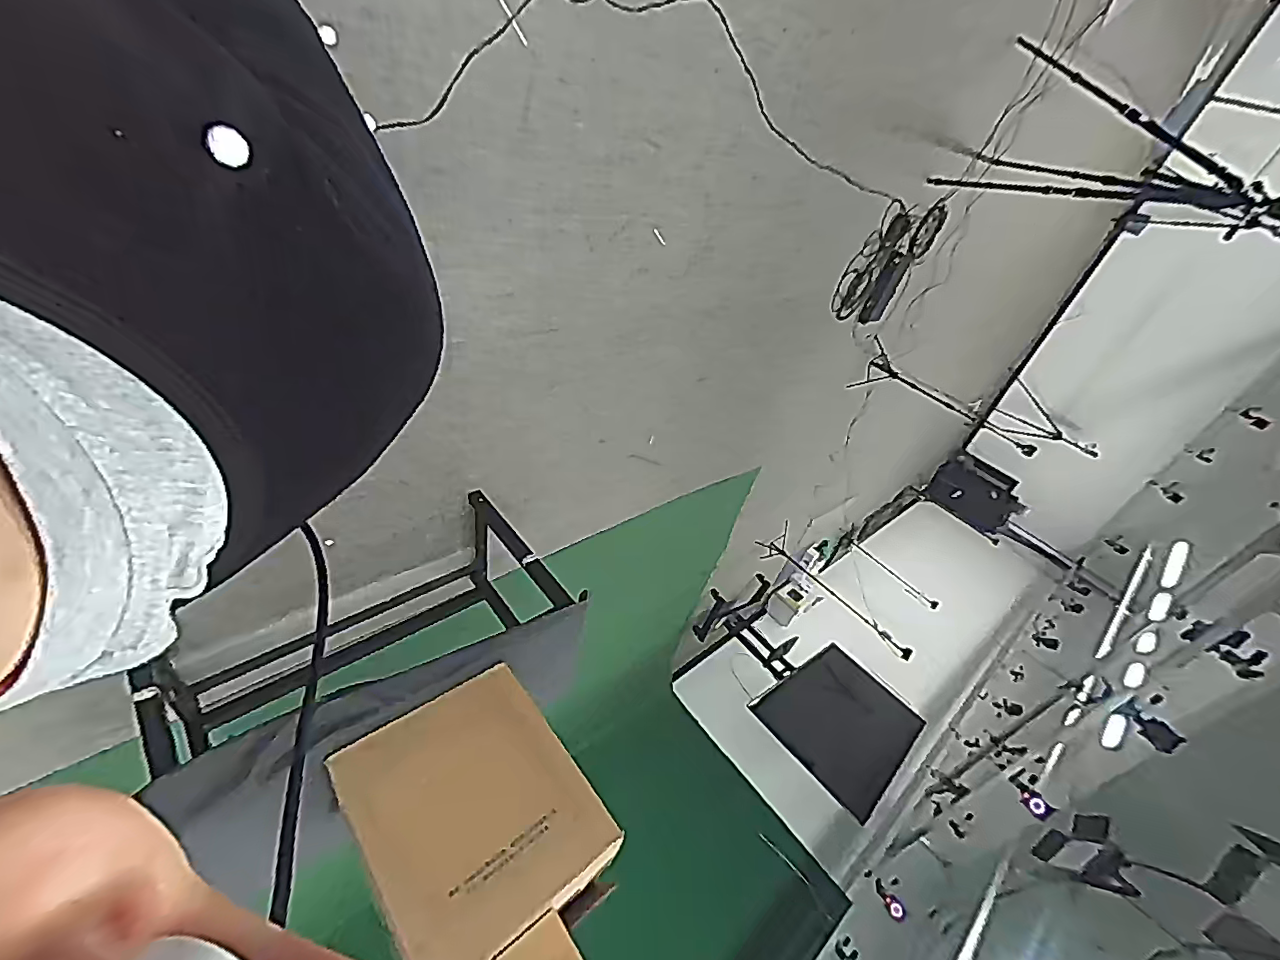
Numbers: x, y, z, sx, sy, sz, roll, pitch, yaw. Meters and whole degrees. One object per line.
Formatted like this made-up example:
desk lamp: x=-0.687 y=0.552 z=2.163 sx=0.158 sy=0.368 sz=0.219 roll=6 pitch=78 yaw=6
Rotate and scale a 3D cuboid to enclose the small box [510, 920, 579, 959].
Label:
small box: x=-0.231 y=1.178 z=1.247 sx=0.179 sy=0.176 sz=0.168 roll=-16 pitch=136 yaw=-43
